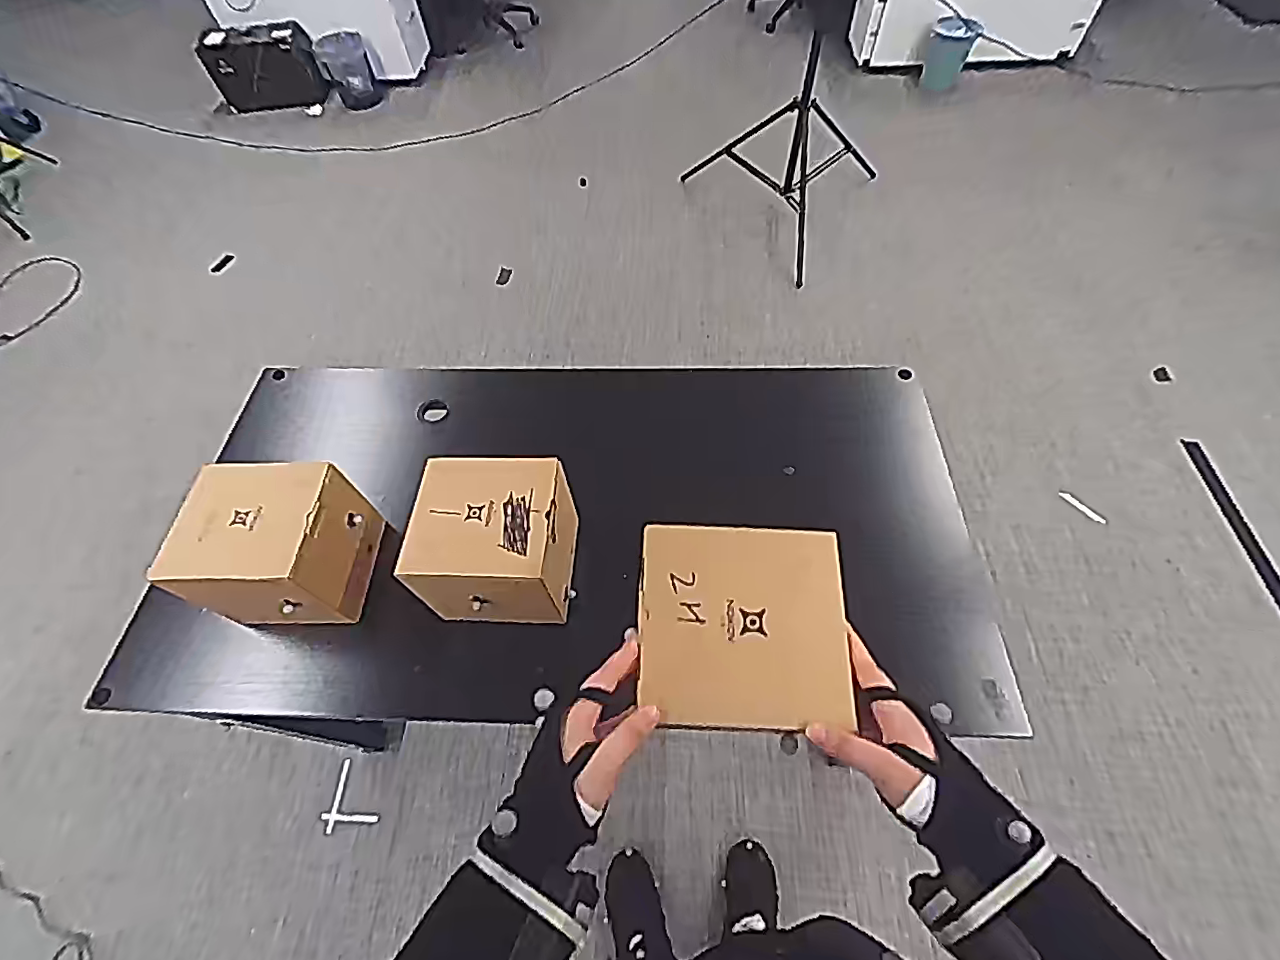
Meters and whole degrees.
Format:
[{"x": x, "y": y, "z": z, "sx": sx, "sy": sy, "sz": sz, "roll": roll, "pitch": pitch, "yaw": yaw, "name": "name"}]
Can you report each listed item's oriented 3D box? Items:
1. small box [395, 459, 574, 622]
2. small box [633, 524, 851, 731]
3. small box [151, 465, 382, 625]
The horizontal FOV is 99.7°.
[{"x": -0.190, "y": 0.086, "z": 0.728, "sx": 0.179, "sy": 0.176, "sz": 0.168, "roll": 1, "pitch": 58, "yaw": 4, "name": "small box"}, {"x": 0.085, "y": 0.151, "z": 0.532, "sx": 0.179, "sy": 0.176, "sz": 0.168, "roll": 2, "pitch": 65, "yaw": 2, "name": "small box"}, {"x": -0.485, "y": 0.093, "z": 0.741, "sx": 0.179, "sy": 0.176, "sz": 0.168, "roll": -2, "pitch": 57, "yaw": 2, "name": "small box"}]
